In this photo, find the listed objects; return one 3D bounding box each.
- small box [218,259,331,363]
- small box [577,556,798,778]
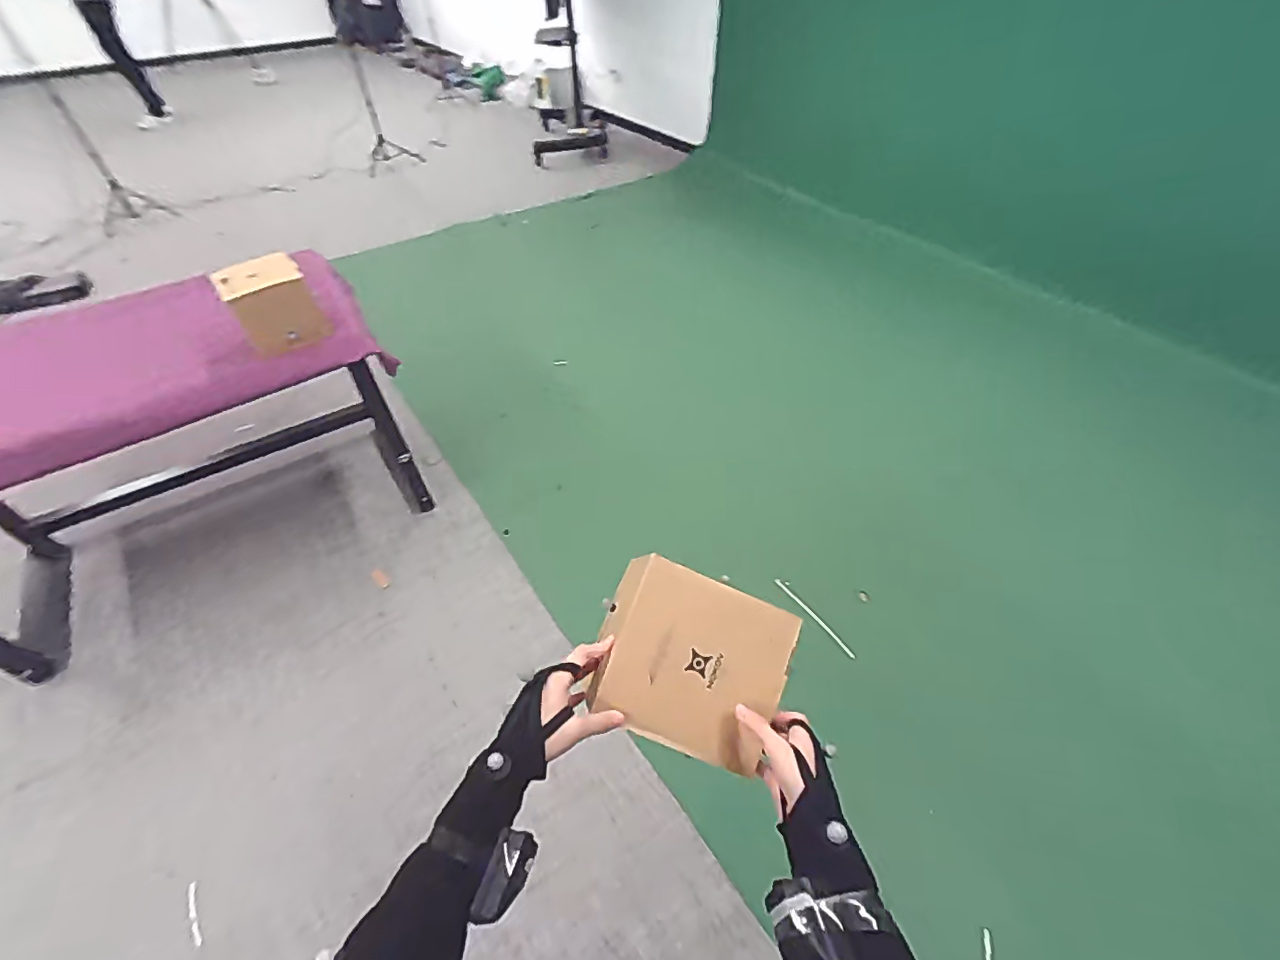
[{"bbox_3d":[-0.914,-0.427,1.371,0.179,0.176,0.168,-31,54,-24],"label":"small box"},{"bbox_3d":[0.041,0.196,0.608,0.179,0.176,0.168,24,75,-4],"label":"small box"}]
